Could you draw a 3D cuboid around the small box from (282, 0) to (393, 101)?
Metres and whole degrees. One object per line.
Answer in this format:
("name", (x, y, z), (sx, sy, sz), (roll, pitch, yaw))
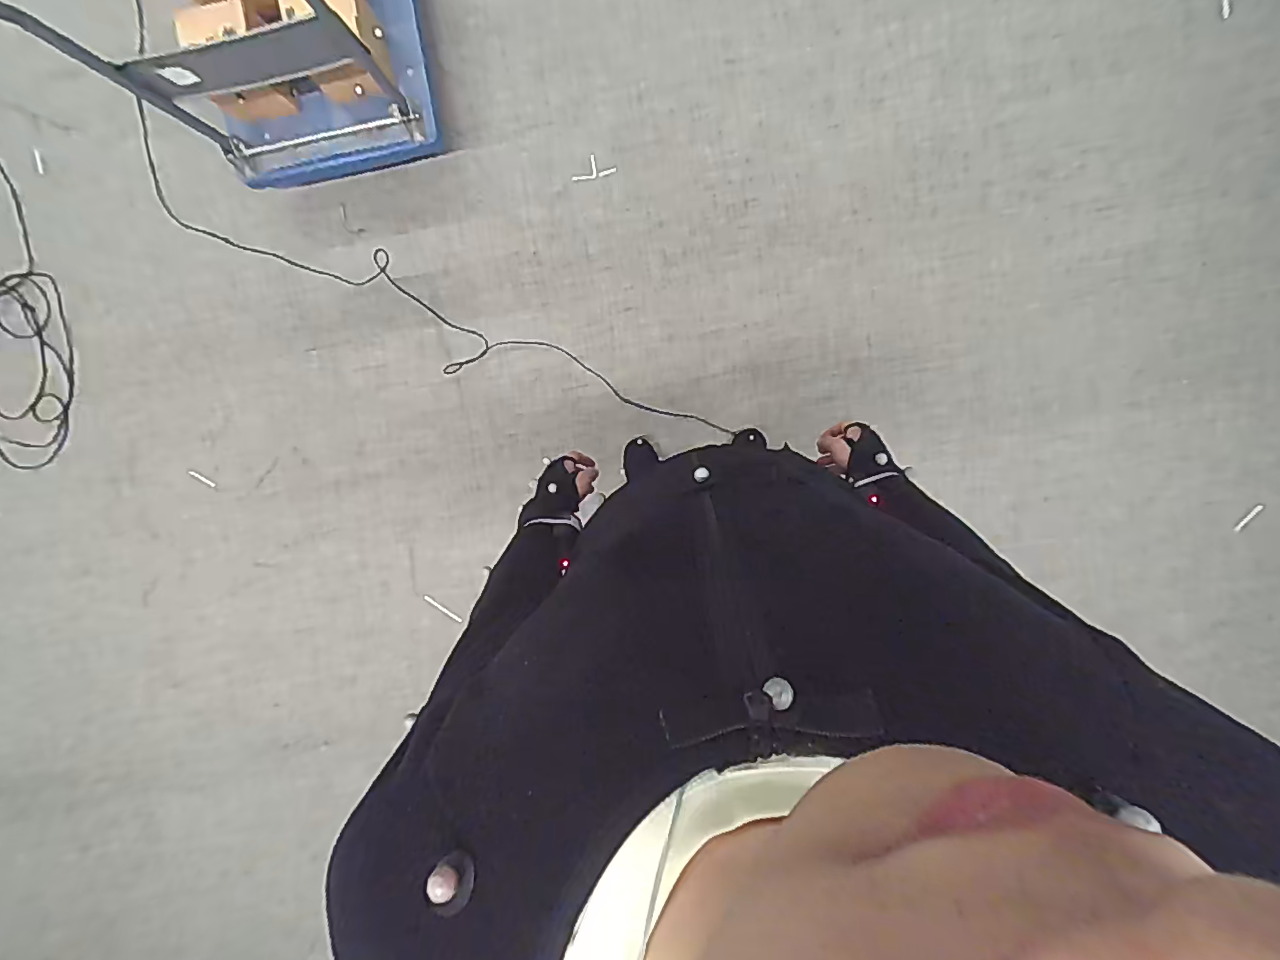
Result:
("small box", (-0.734, -1.084, 1.334), (0.179, 0.176, 0.168), (-11, 94, 4))

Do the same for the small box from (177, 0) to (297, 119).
("small box", (-0.994, -1.044, 1.354), (0.179, 0.176, 0.168), (-6, 94, 5))
